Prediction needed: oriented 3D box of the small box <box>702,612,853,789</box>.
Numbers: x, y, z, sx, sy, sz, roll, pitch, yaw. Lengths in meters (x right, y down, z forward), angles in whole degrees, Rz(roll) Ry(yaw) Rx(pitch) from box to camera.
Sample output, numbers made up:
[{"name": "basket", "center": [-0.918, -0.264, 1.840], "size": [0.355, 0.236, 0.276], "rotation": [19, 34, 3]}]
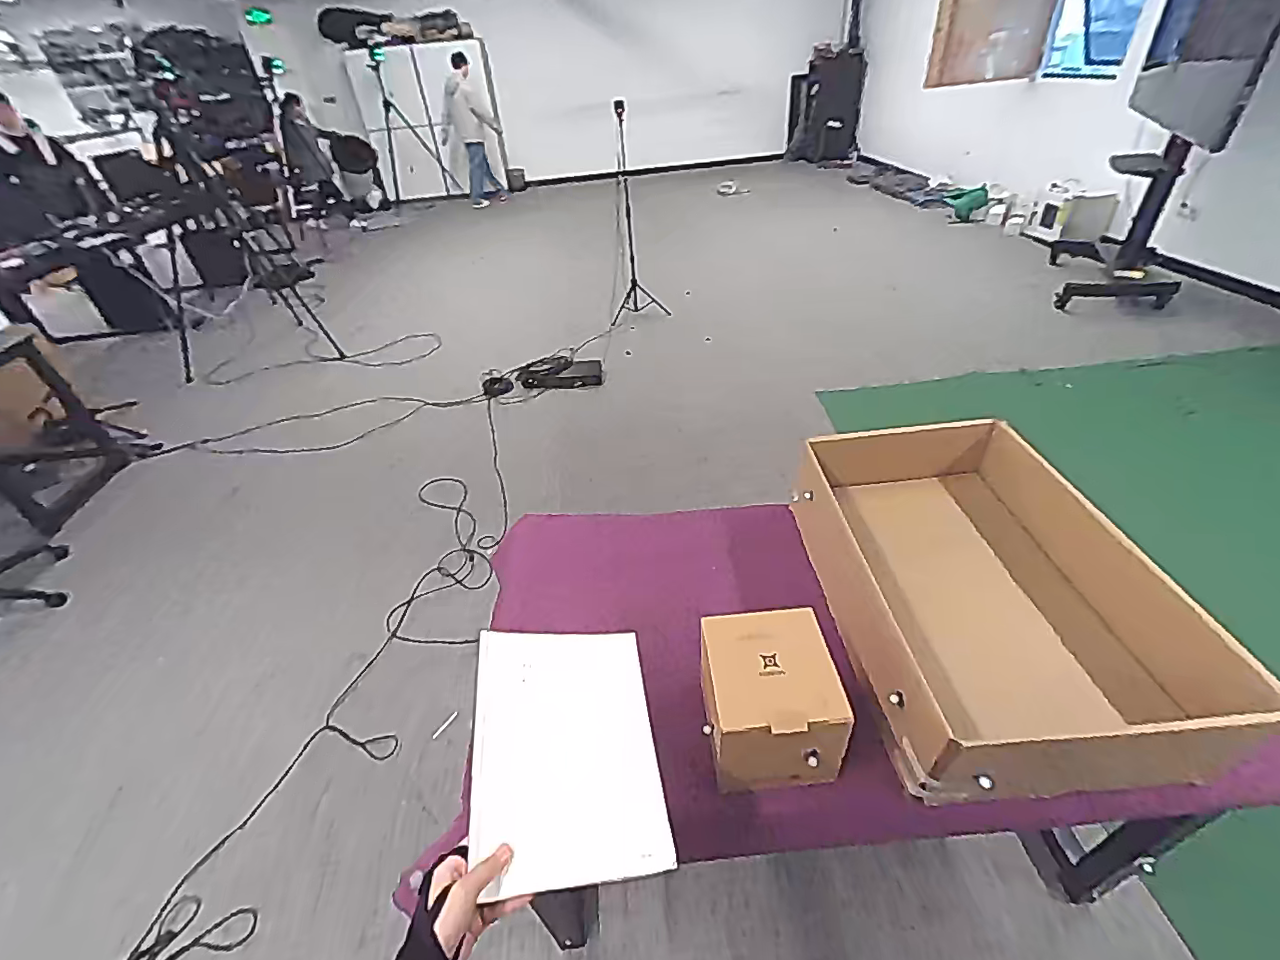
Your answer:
[{"name": "small box", "center": [0.181, 0.315, 0.765], "size": [0.168, 0.176, 0.179], "rotation": [-5, 36, 0]}]
